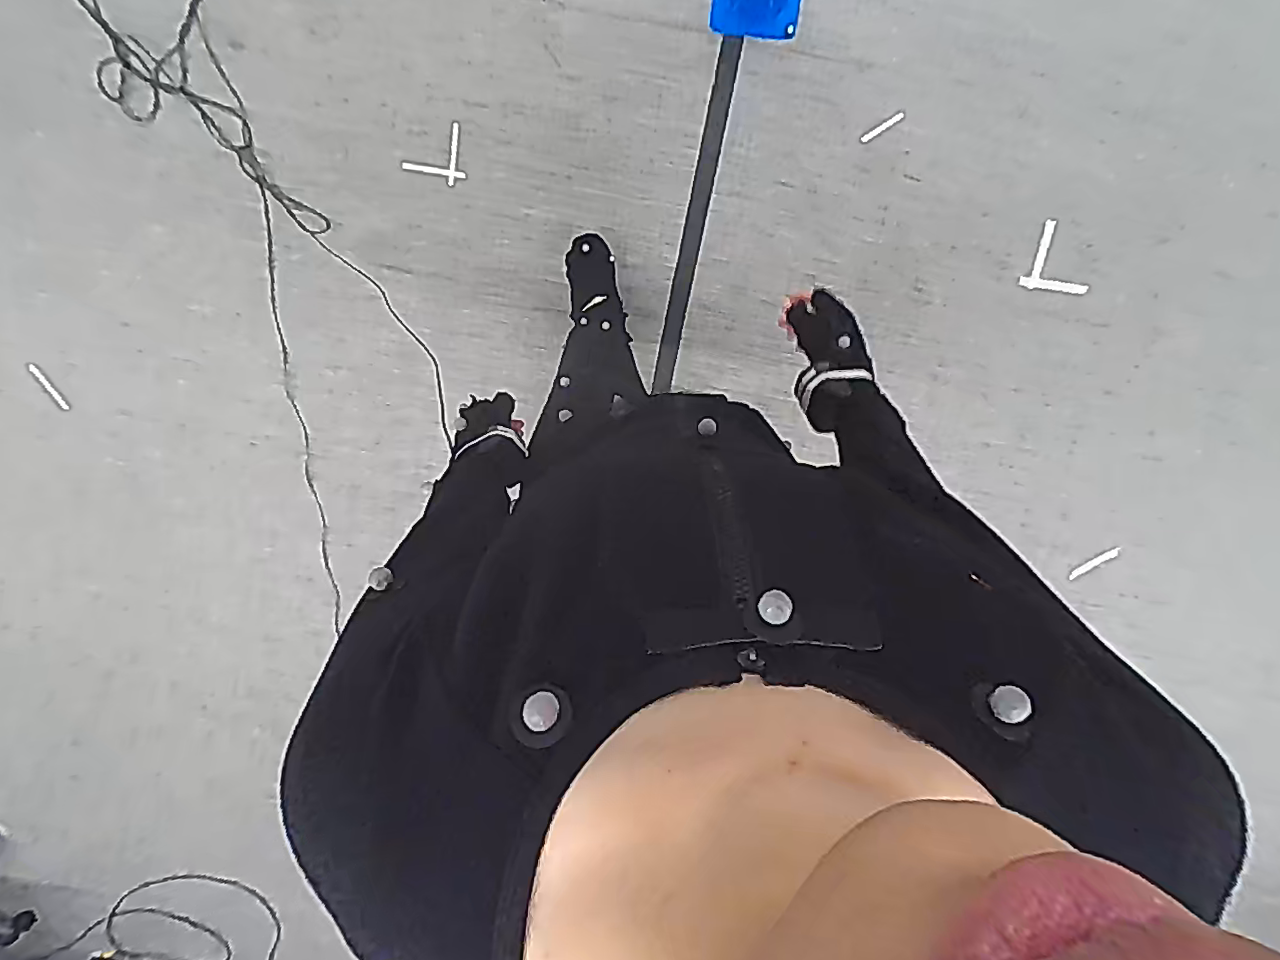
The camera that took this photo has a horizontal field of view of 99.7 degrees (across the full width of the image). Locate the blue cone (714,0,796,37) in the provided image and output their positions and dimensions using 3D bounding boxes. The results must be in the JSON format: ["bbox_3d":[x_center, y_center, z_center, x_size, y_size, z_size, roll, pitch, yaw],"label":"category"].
[{"bbox_3d":[0.266,-1.064,1.046,0.192,0.380,0.193,7,104,-3],"label":"blue cone"}]
